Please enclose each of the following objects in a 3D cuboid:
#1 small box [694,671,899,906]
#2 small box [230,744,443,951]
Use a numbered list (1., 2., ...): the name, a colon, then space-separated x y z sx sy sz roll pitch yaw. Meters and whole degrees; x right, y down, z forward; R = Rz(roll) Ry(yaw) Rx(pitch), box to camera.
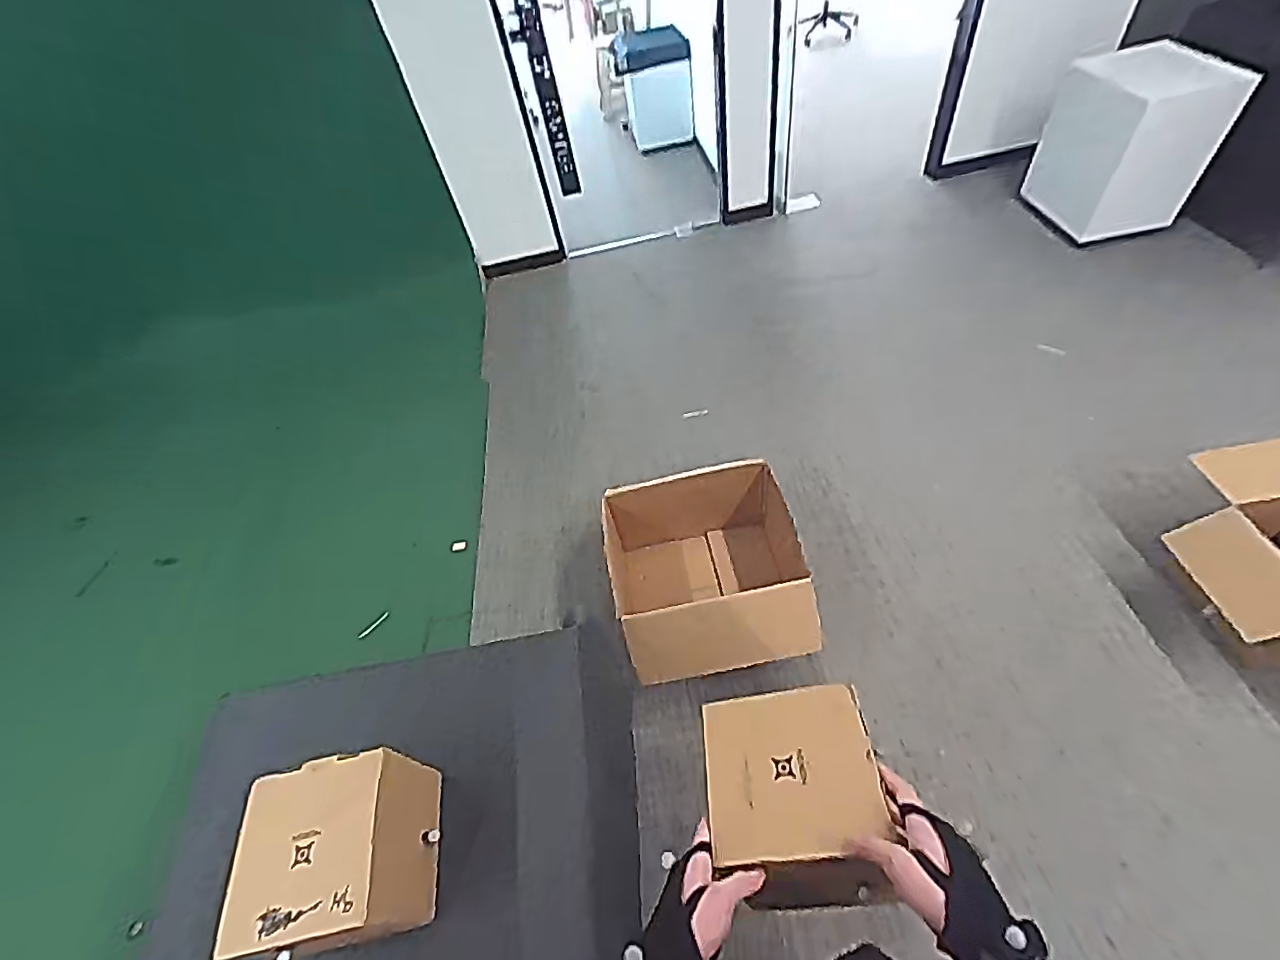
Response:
1. small box: 0.169 0.339 0.591 0.179 0.176 0.168 -16 36 14
2. small box: -0.364 0.467 0.690 0.168 0.176 0.179 -14 51 -3
